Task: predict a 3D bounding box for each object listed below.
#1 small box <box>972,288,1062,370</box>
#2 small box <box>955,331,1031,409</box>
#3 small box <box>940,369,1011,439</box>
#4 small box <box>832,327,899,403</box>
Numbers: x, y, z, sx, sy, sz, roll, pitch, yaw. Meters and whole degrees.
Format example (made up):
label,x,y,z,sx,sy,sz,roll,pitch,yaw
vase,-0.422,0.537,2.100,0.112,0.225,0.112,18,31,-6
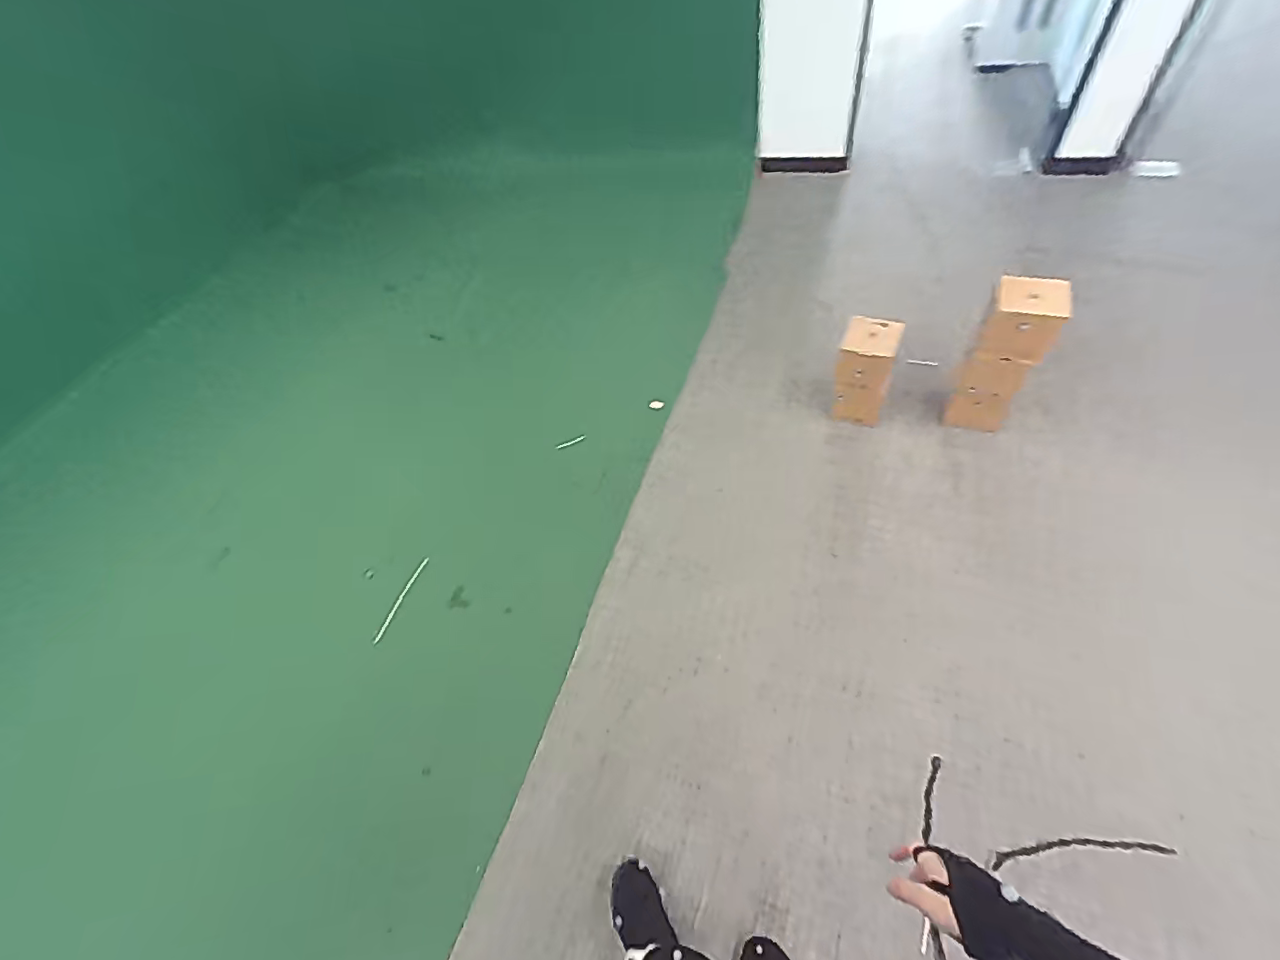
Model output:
label,x,y,z,sx,sy,sz,roll,pitch,yaw
small box,1.124,-0.449,1.618,0.179,0.176,0.168,12,57,19
small box,1.139,-0.354,1.750,0.168,0.176,0.179,13,57,19
small box,1.163,-0.261,1.883,0.179,0.176,0.168,12,58,19
small box,0.766,-0.391,1.849,0.168,0.176,0.179,18,60,22
